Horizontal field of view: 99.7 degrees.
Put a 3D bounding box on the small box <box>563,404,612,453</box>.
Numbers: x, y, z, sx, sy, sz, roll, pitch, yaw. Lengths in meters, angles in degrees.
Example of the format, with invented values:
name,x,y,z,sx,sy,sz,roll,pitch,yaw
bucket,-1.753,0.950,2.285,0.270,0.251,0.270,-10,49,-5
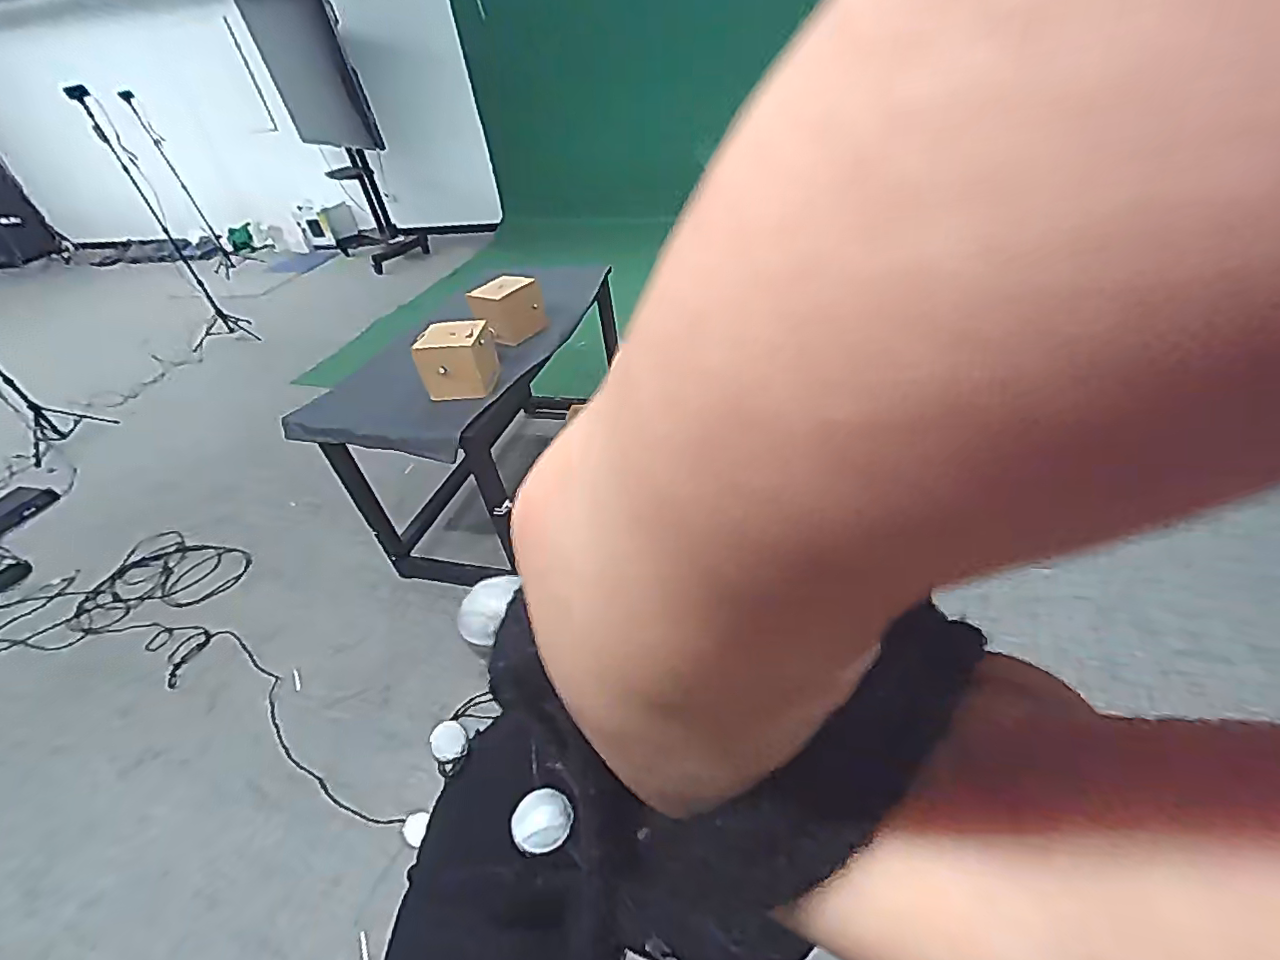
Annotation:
name,x,y,z,sx,sy,sz,roll,pitch,yaw
small box,-0.239,-0.238,2.531,0.179,0.176,0.168,3,41,12

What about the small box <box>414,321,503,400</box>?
name,x,y,z,sx,sy,sz,roll,pitch,yaw
small box,-0.522,-0.346,1.579,0.179,0.176,0.168,-3,41,6

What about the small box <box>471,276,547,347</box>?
name,x,y,z,sx,sy,sz,roll,pitch,yaw
small box,-0.434,-0.571,1.829,0.168,0.176,0.179,19,48,32

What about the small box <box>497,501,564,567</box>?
name,x,y,z,sx,sy,sz,roll,pitch,yaw
small box,-0.405,0.207,2.045,0.179,0.176,0.168,8,43,19
